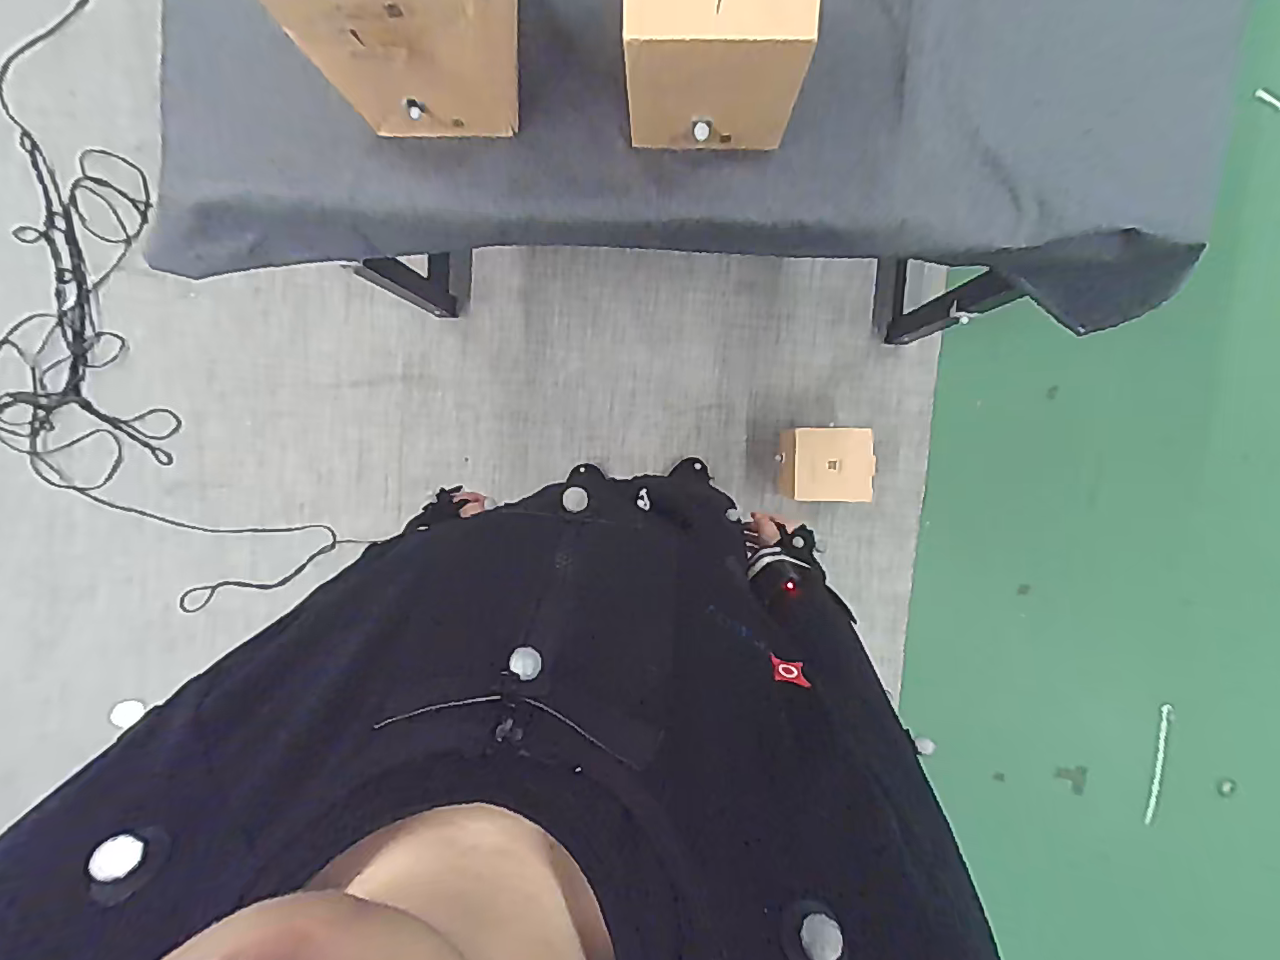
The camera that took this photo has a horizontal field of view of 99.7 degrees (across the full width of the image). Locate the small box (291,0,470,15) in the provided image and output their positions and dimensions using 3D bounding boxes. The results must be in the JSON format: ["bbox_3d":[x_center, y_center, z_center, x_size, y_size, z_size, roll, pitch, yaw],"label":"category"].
[{"bbox_3d":[-0.224,-0.470,0.377,0.168,0.176,0.179,-1,95,2],"label":"small box"}]

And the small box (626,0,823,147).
[{"bbox_3d":[0.076,-0.461,0.525,0.168,0.176,0.179,2,94,3],"label":"small box"}]

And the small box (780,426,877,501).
[{"bbox_3d":[0.438,-0.042,1.272,0.179,0.176,0.168,0,93,4],"label":"small box"}]

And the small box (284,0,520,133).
[{"bbox_3d":[-0.222,-0.485,0.540,0.168,0.176,0.179,1,94,2],"label":"small box"}]
